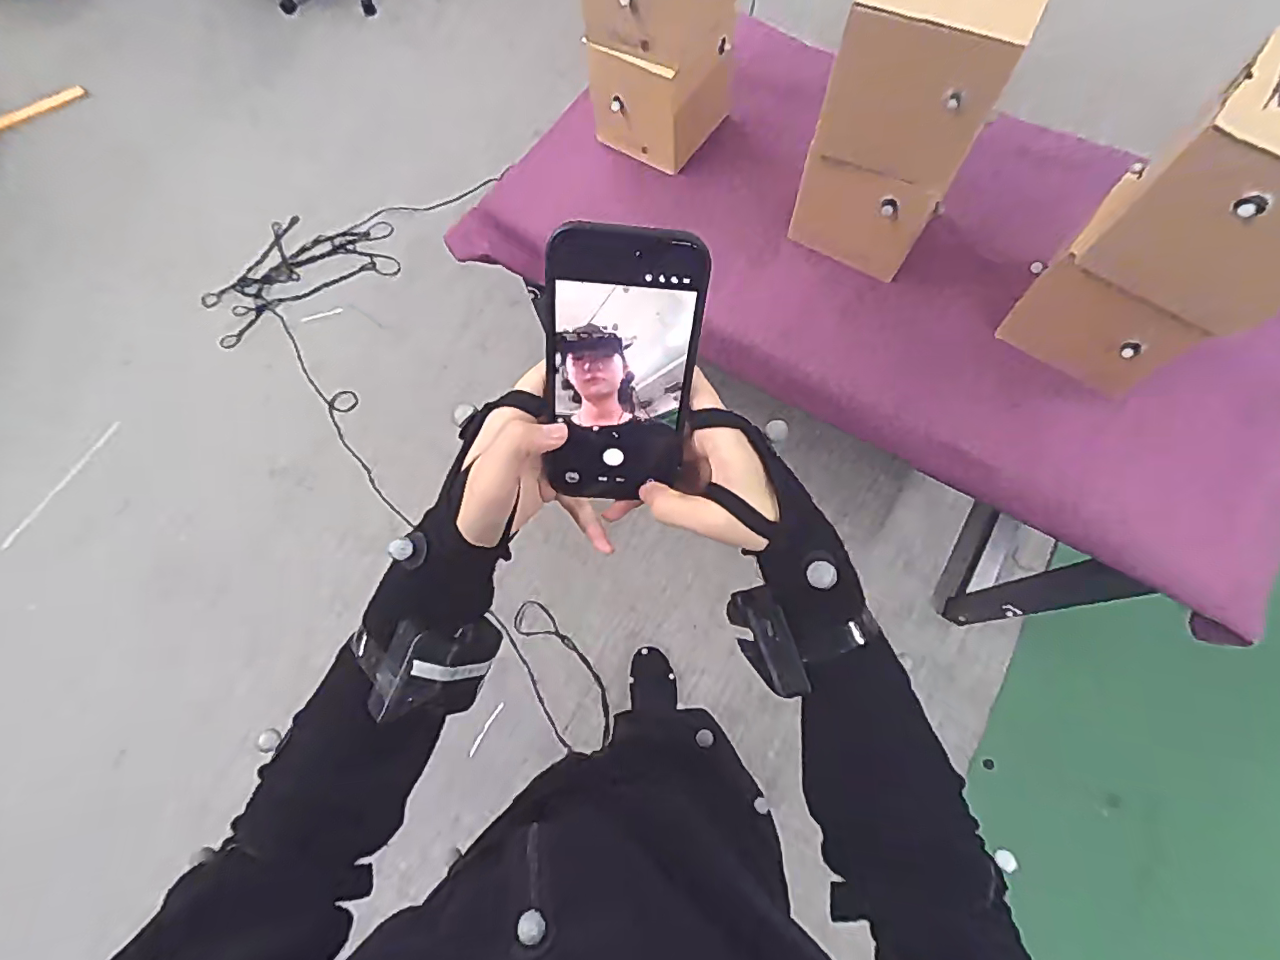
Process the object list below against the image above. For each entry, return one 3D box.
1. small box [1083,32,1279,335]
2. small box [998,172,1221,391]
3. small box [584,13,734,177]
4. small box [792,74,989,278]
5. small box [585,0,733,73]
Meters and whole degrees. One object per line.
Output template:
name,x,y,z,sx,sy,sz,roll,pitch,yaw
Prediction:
small box,0.604,-0.278,0.534,0.179,0.176,0.168,38,77,15
small box,0.618,-0.239,0.693,0.179,0.176,0.168,38,77,17
small box,0.036,-0.641,0.884,0.168,0.176,0.179,33,76,15
small box,0.345,-0.425,0.780,0.179,0.176,0.168,32,75,15
small box,0.029,-0.703,0.732,0.168,0.176,0.179,28,75,13
